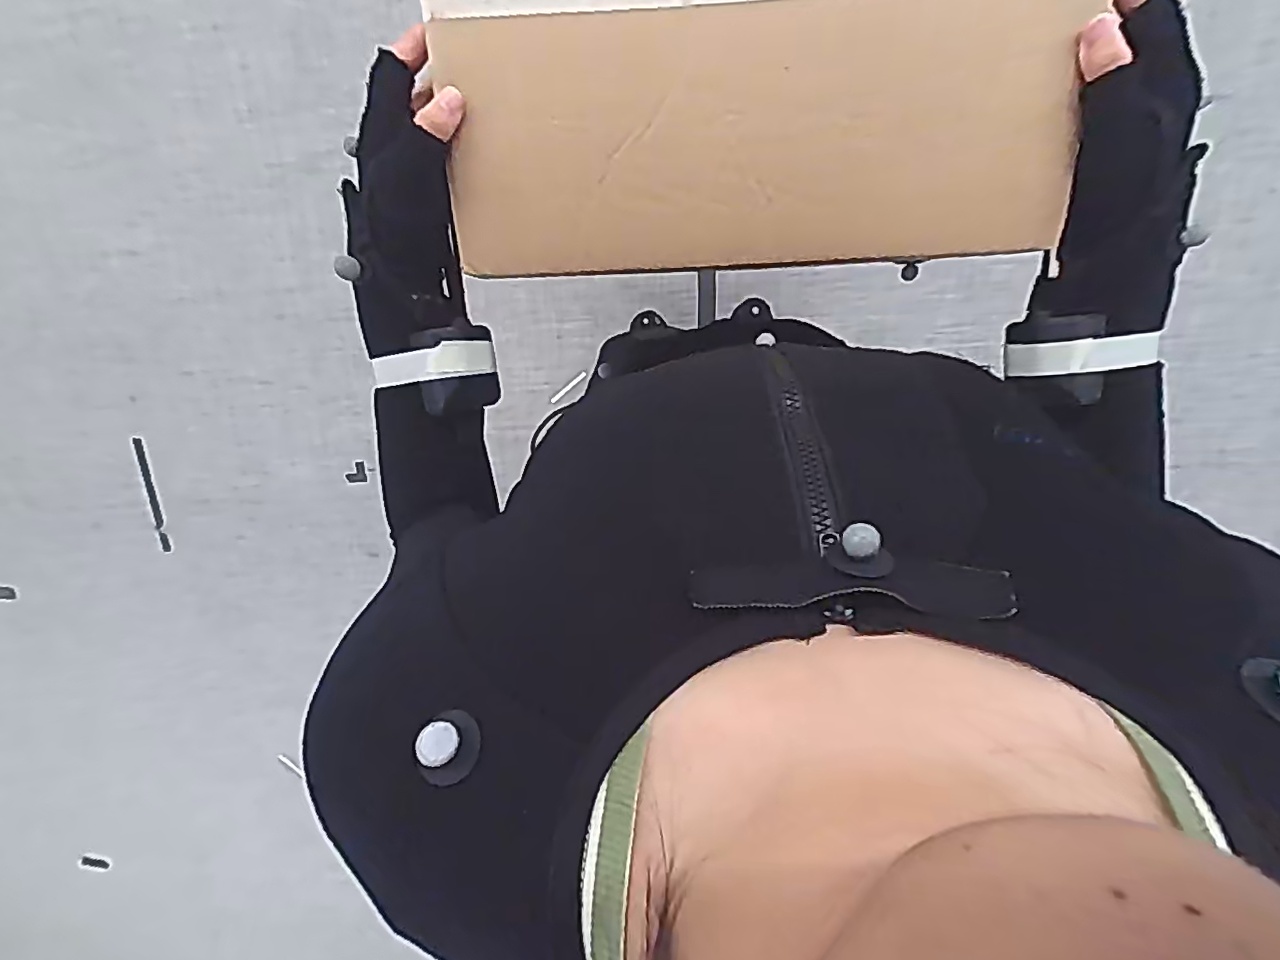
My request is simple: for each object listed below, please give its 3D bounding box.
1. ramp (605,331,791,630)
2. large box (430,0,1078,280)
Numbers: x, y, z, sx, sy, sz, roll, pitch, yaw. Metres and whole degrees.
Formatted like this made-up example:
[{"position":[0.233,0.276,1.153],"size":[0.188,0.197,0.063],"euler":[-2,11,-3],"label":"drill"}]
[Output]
[{"position":[0.176,0.066,1.629],"size":[0.509,0.206,0.991],"euler":[-4,107,3],"label":"ramp"},{"position":[0.072,-0.352,0.465],"size":[0.408,0.320,0.320],"euler":[-2,111,1],"label":"large box"}]
